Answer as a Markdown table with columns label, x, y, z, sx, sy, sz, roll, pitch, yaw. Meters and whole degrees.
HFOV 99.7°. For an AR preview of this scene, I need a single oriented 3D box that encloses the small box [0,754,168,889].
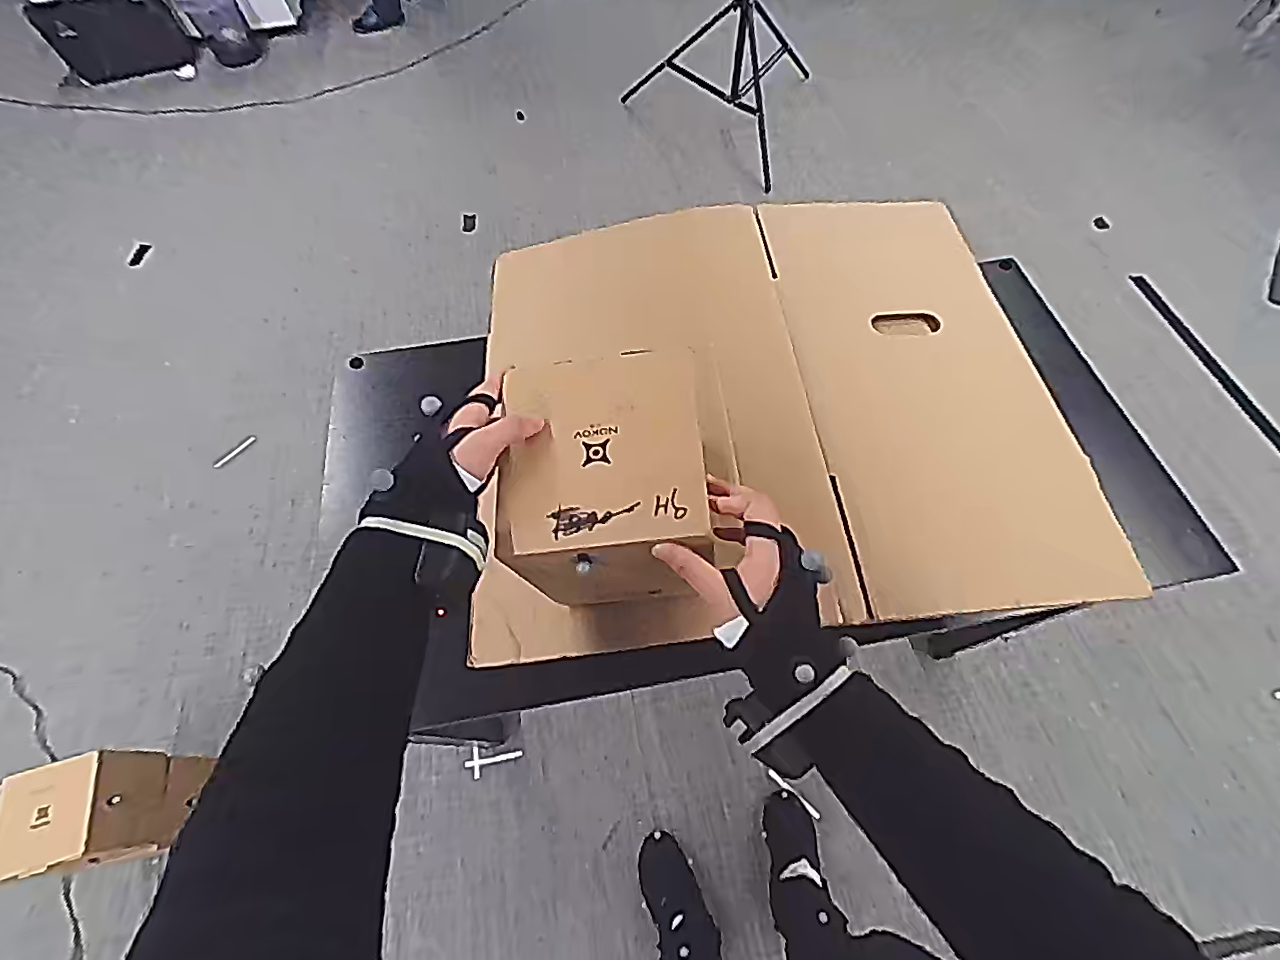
| label | x | y | z | sx | sy | sz | roll | pitch | yaw |
| --- | --- | --- | --- | --- | --- | --- | --- | --- | --- |
| small box | -1.059 | 0.644 | 1.037 | 0.168 | 0.176 | 0.179 | -16 | 62 | -8 |

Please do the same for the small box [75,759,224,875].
| label | x | y | z | sx | sy | sz | roll | pitch | yaw |
| --- | --- | --- | --- | --- | --- | --- | --- | --- | --- |
| small box | -1.052 | 0.724 | 1.178 | 0.168 | 0.176 | 0.179 | -13 | 63 | -5 |
